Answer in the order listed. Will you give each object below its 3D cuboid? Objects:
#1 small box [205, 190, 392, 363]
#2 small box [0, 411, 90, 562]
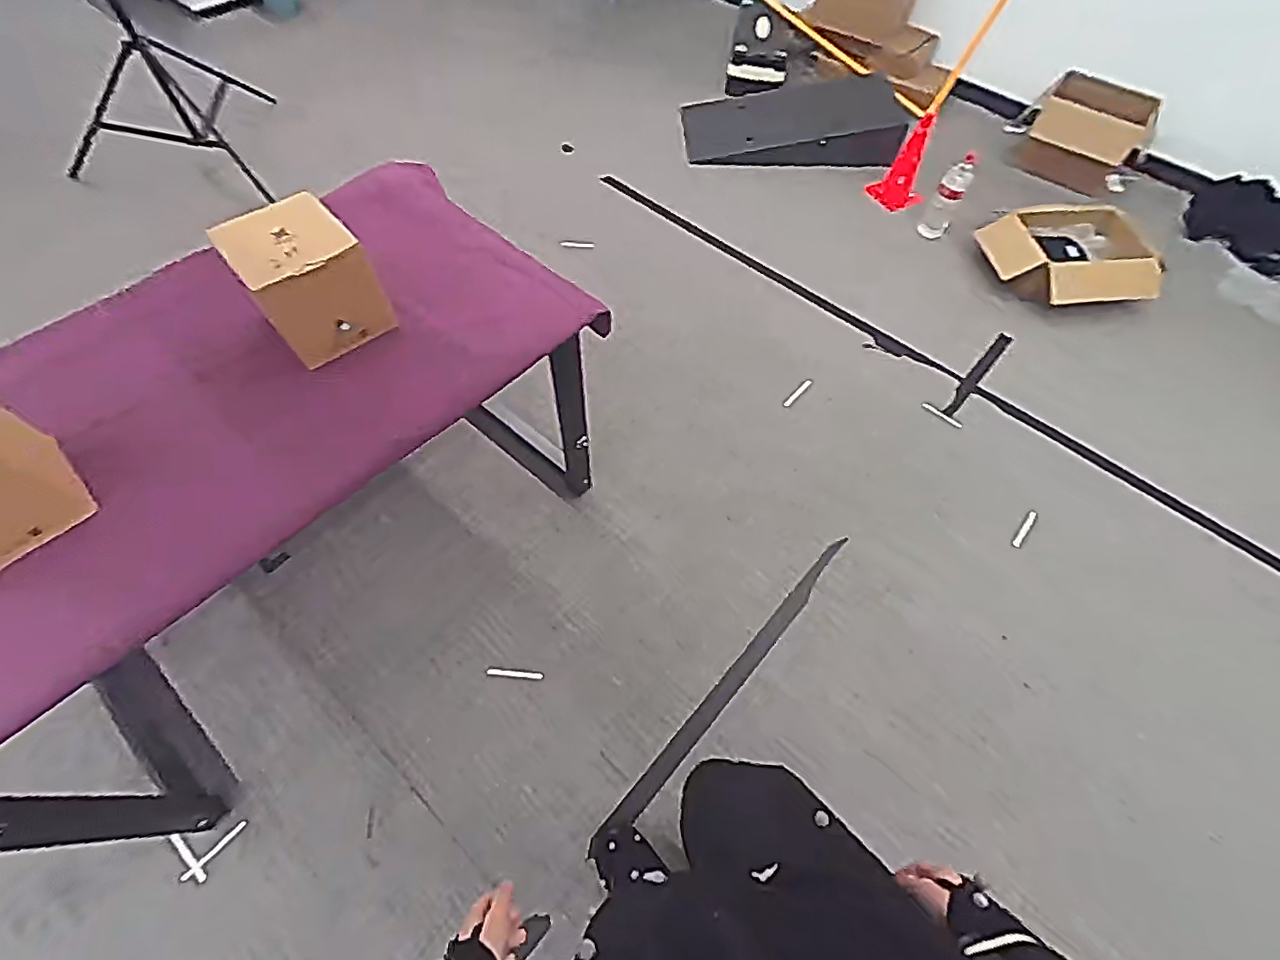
[{"bbox_3d":[-0.543,-0.327,0.882,0.168,0.176,0.179,-38,69,-21],"label":"small box"},{"bbox_3d":[-0.869,0.000,0.680,0.179,0.176,0.168,40,66,18],"label":"small box"}]
